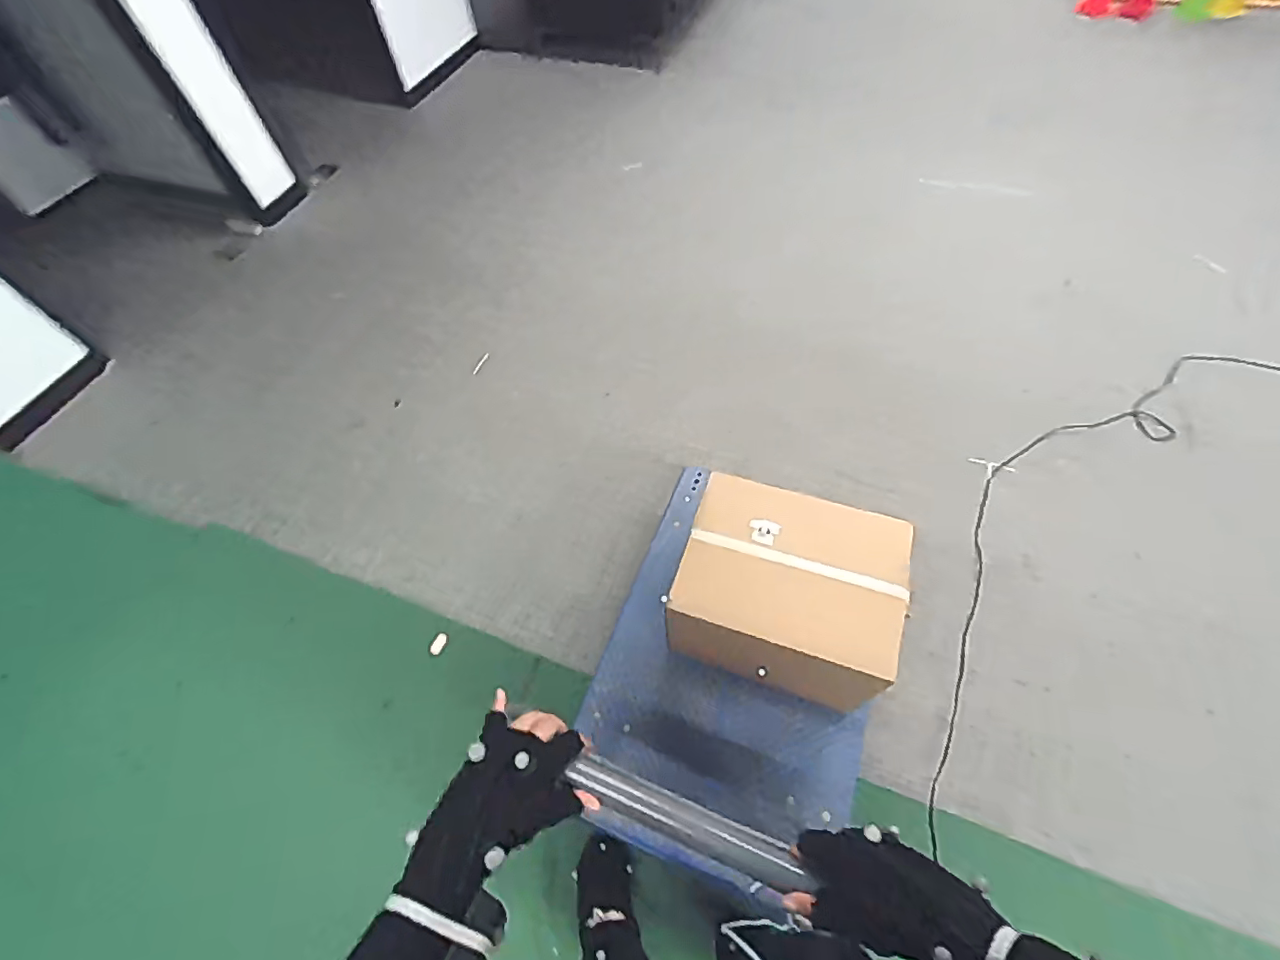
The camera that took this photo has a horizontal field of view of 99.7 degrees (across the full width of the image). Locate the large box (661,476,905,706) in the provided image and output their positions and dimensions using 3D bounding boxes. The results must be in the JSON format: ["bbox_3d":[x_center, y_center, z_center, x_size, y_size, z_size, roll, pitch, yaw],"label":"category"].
[{"bbox_3d":[0.289,0.238,1.137,0.408,0.320,0.320,15,60,15],"label":"large box"}]
